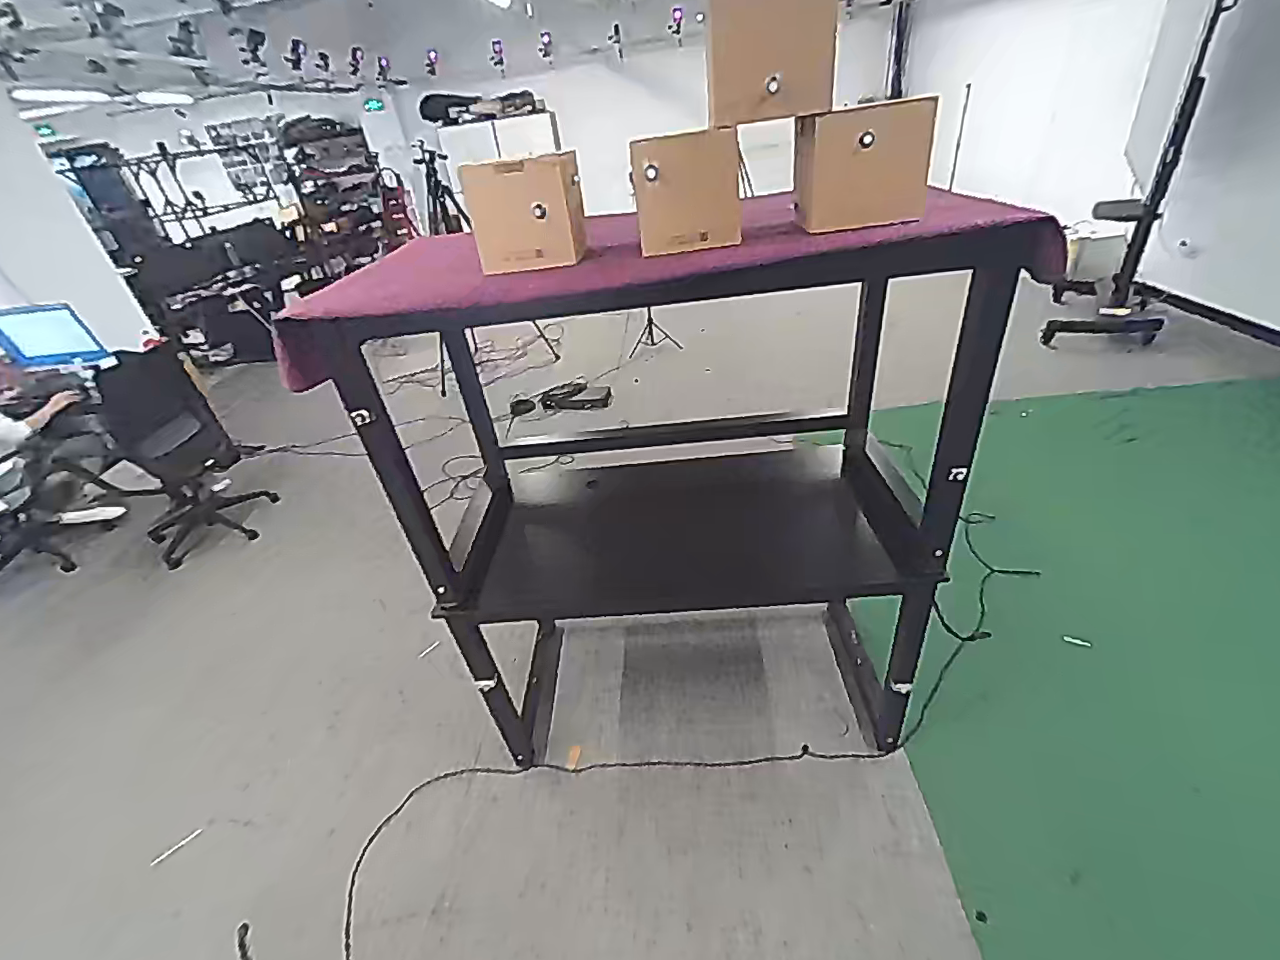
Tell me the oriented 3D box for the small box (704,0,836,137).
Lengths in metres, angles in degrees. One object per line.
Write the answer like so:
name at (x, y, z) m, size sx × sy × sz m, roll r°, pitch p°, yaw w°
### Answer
small box at (0.190, -0.640, 0.833) m, size 0.179 × 0.176 × 0.168 m, roll -3°, pitch 33°, yaw 6°

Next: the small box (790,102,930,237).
small box at (0.356, -0.517, 0.909) m, size 0.179 × 0.176 × 0.168 m, roll -5°, pitch 33°, yaw 5°

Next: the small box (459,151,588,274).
small box at (-0.193, -0.468, 0.954) m, size 0.168 × 0.176 × 0.179 m, roll -3°, pitch 33°, yaw 6°
